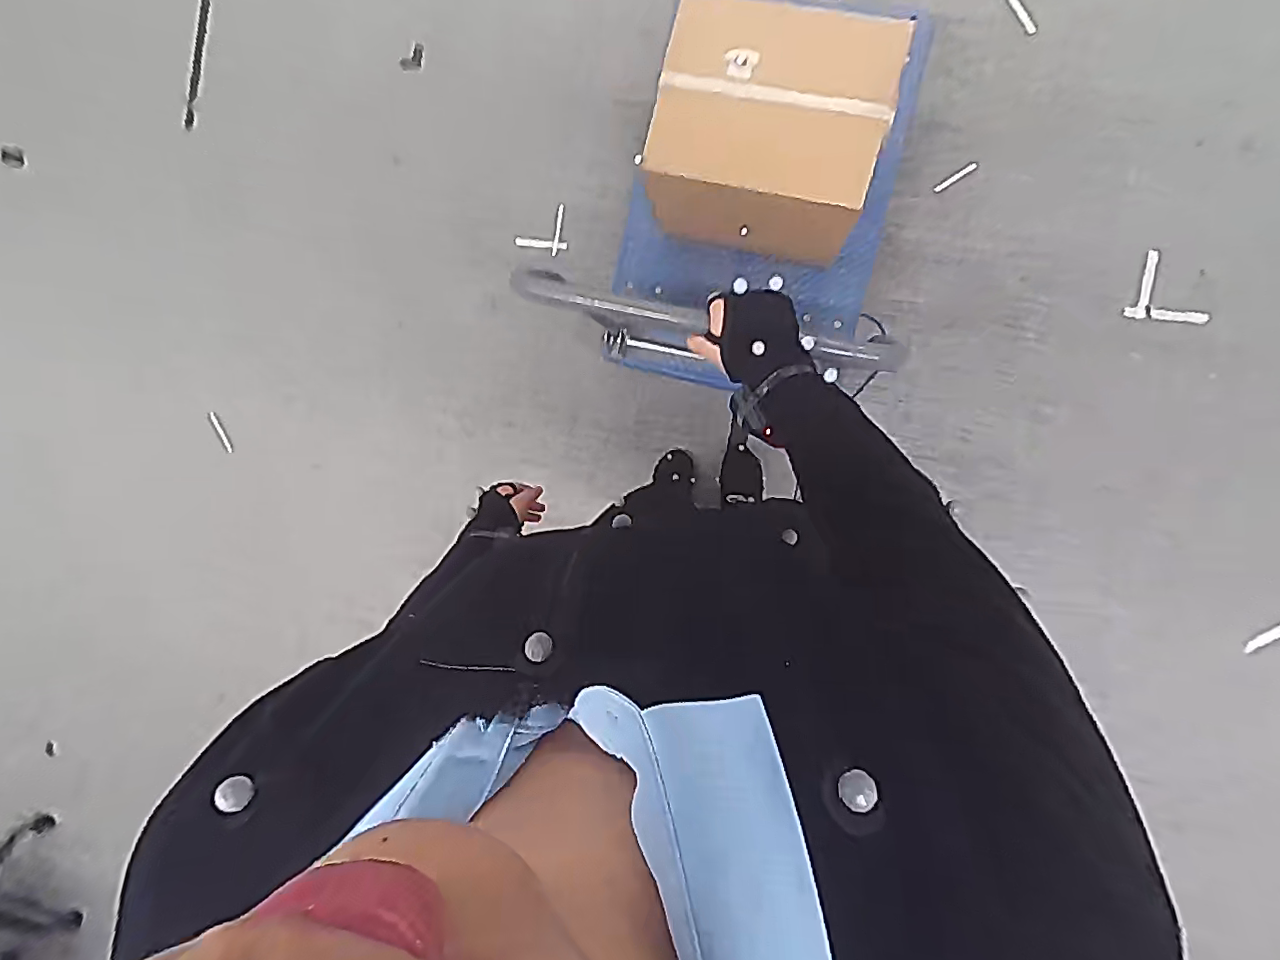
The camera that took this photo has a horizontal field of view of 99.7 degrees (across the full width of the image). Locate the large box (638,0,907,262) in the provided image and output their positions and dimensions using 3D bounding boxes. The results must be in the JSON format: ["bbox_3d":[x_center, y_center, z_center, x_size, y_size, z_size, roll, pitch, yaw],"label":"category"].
[{"bbox_3d":[0.248,-0.667,1.082,0.408,0.320,0.320,15,95,10],"label":"large box"}]
